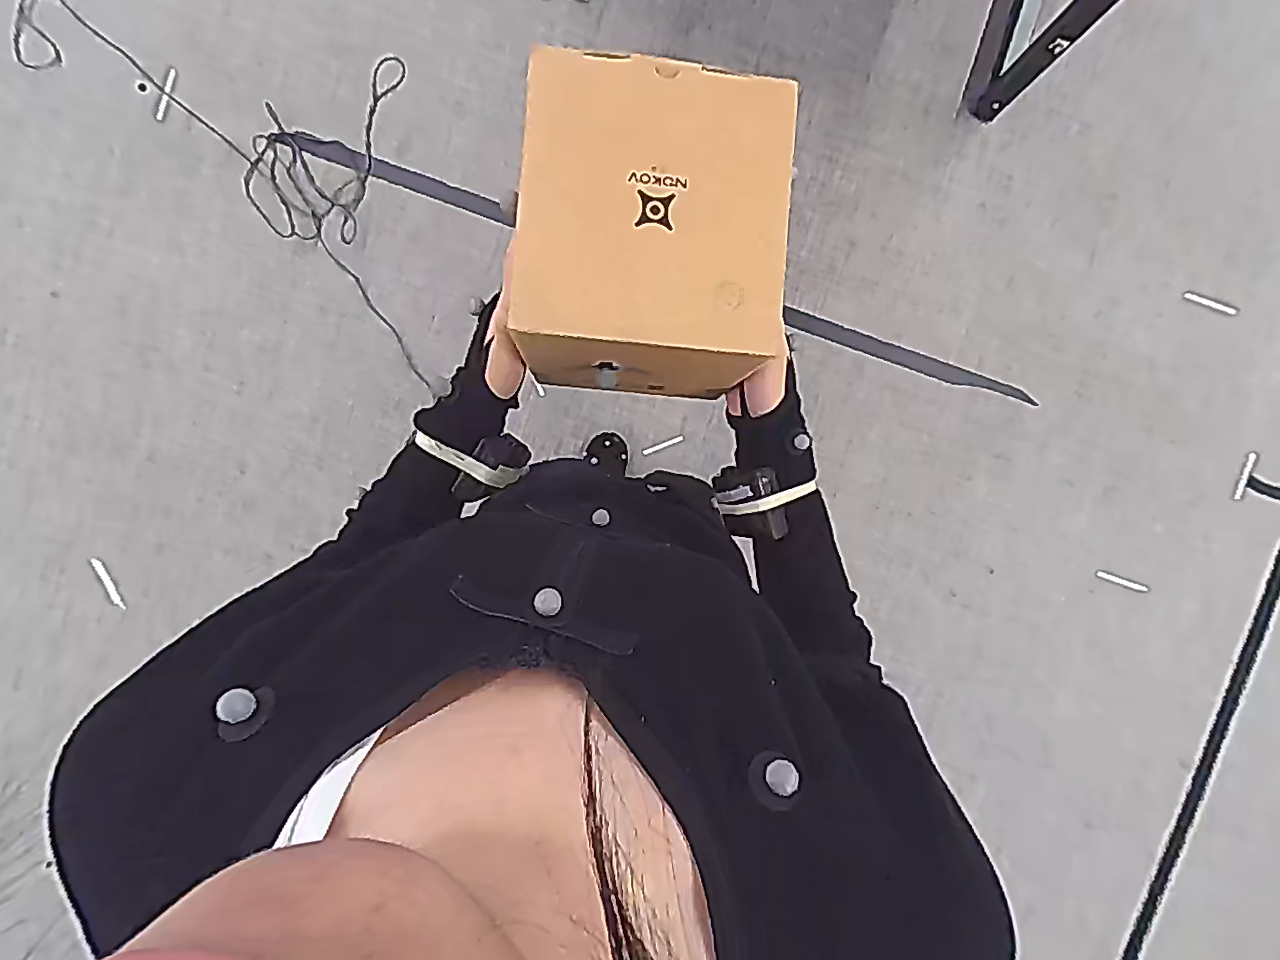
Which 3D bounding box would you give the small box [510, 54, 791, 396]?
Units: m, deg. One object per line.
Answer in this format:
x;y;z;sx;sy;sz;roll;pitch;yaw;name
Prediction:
0.003;-0.167;0.413;0.168;0.176;0.179;4;87;-5;small box
